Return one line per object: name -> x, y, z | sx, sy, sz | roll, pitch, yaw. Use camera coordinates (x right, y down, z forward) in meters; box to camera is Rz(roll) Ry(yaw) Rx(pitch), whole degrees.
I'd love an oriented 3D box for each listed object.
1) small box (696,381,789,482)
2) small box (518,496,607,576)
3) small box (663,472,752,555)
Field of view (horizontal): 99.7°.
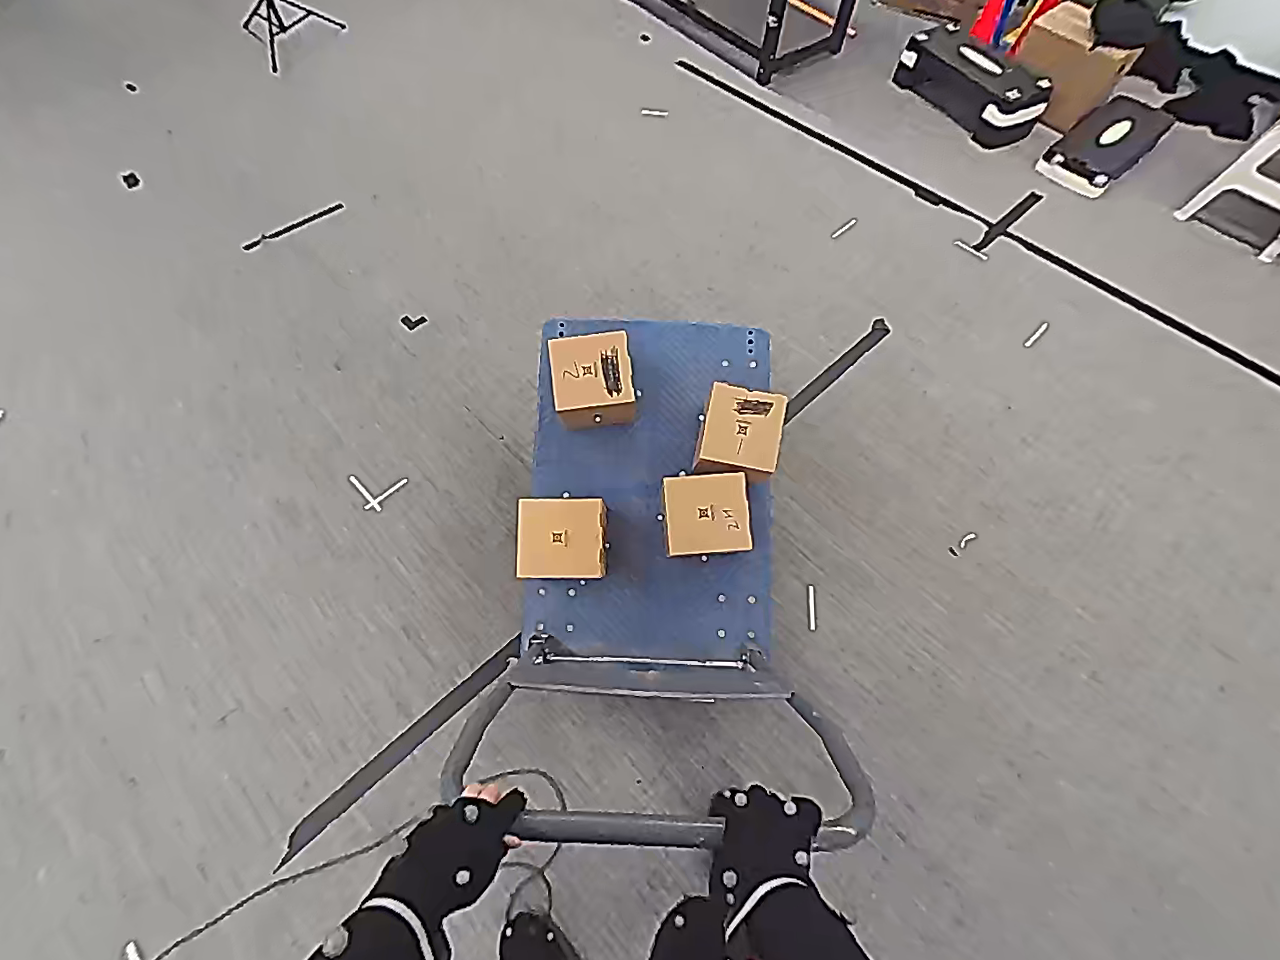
small box -> 0.226, -0.104, 1.235 | 0.168, 0.176, 0.179 | 12, 82, 2
small box -> -0.165, 0.128, 1.200 | 0.179, 0.176, 0.168 | 0, 81, -2
small box -> 0.143, 0.080, 1.207 | 0.179, 0.176, 0.168 | -4, 81, 0
